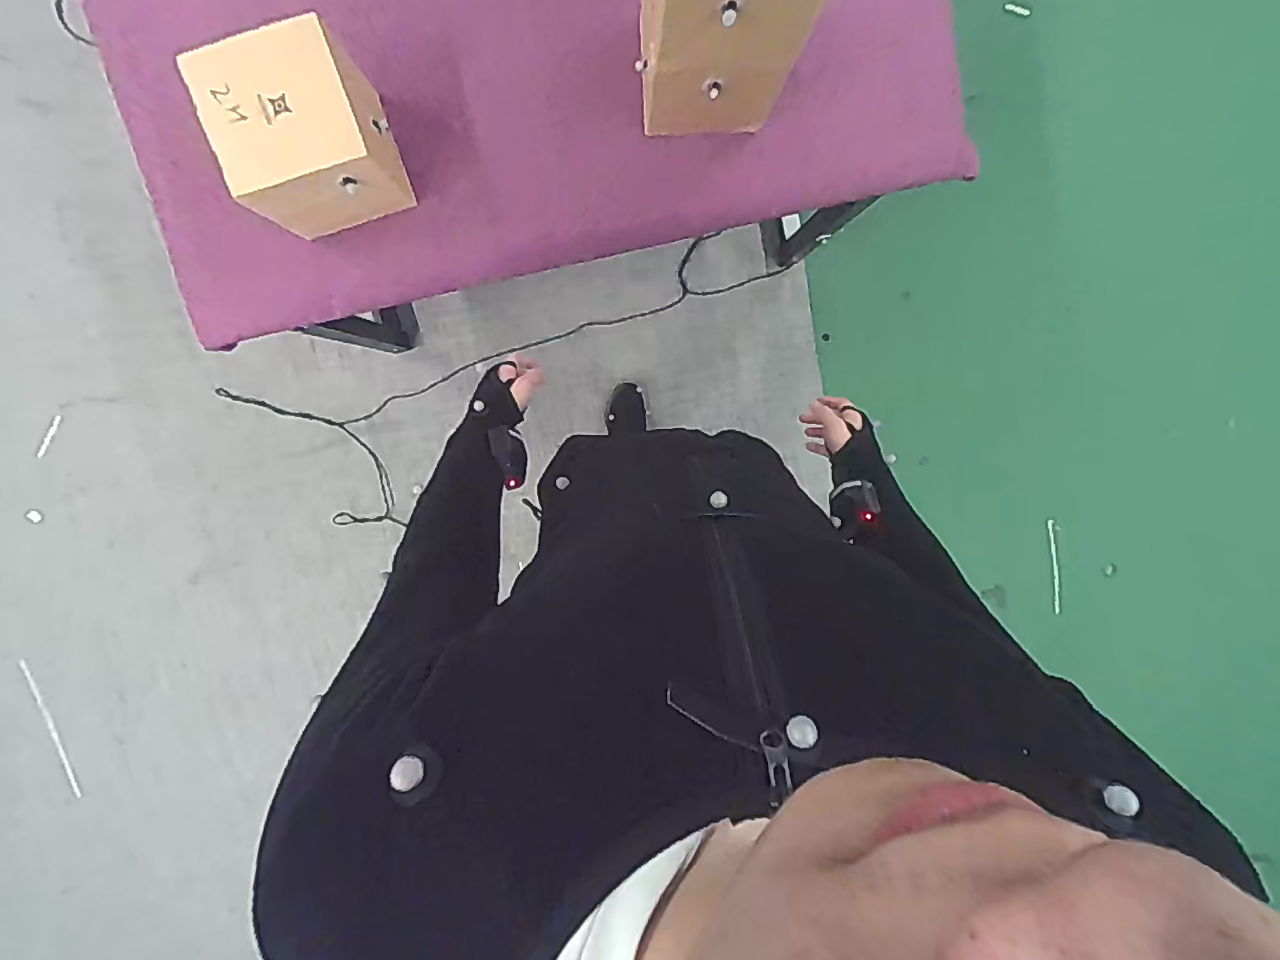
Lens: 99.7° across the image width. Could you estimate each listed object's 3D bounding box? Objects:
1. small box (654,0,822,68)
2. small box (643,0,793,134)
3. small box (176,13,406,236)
[{"bbox_3d":[0.101,-0.563,0.558,0.179,0.176,0.168,-5,99,-1],"label":"small box"},{"bbox_3d":[0.094,-0.587,0.719,0.179,0.176,0.168,-2,98,-2],"label":"small box"},{"bbox_3d":[-0.434,-0.449,0.714,0.179,0.176,0.168,-18,98,0],"label":"small box"}]
